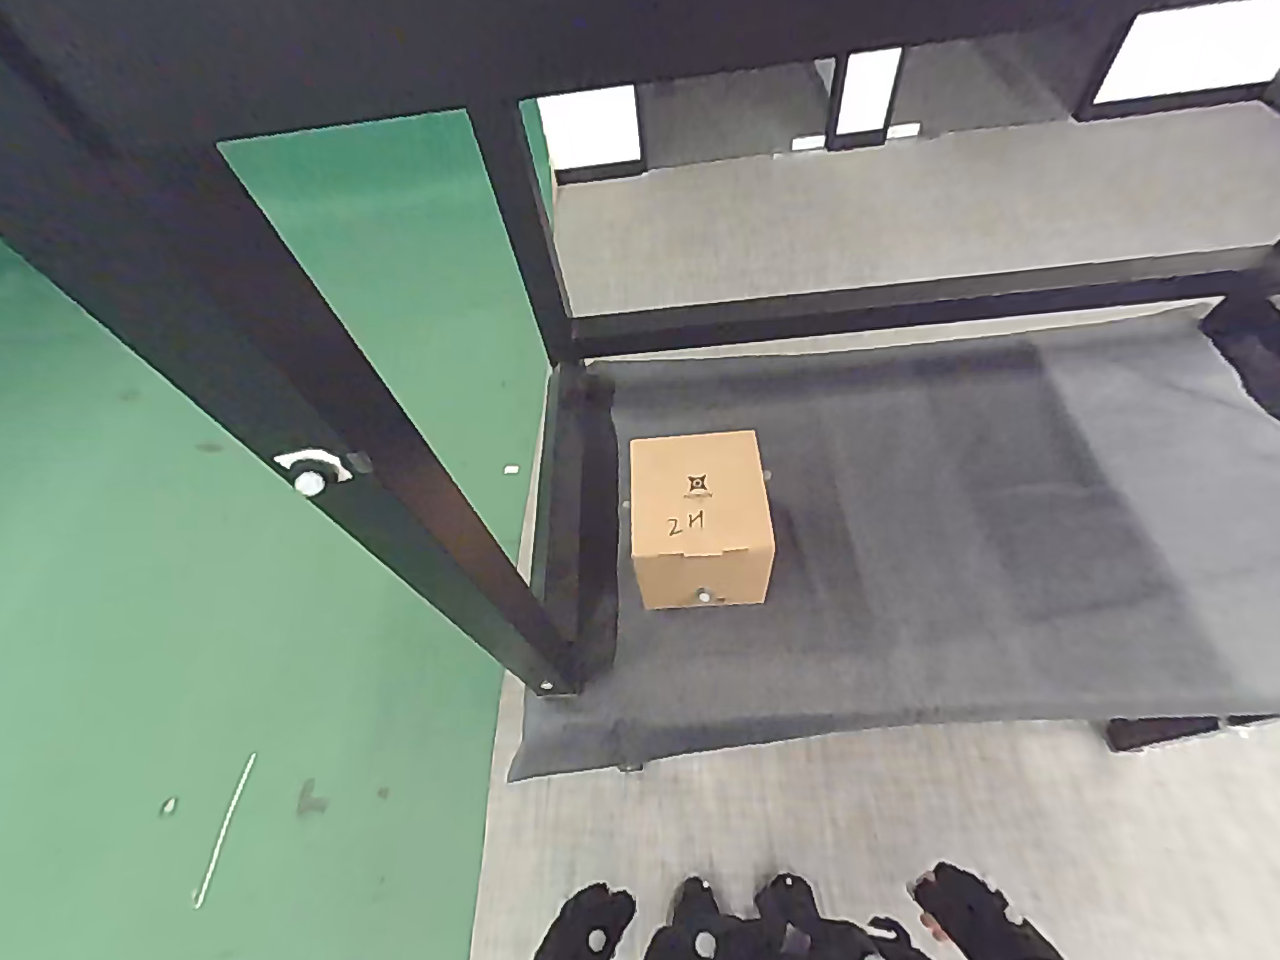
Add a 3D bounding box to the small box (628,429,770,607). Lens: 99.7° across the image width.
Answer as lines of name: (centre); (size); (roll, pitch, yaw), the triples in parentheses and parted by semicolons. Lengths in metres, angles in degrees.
small box: (0.075, 0.055, 0.730); (0.168, 0.176, 0.179); (-5, 55, 5)
